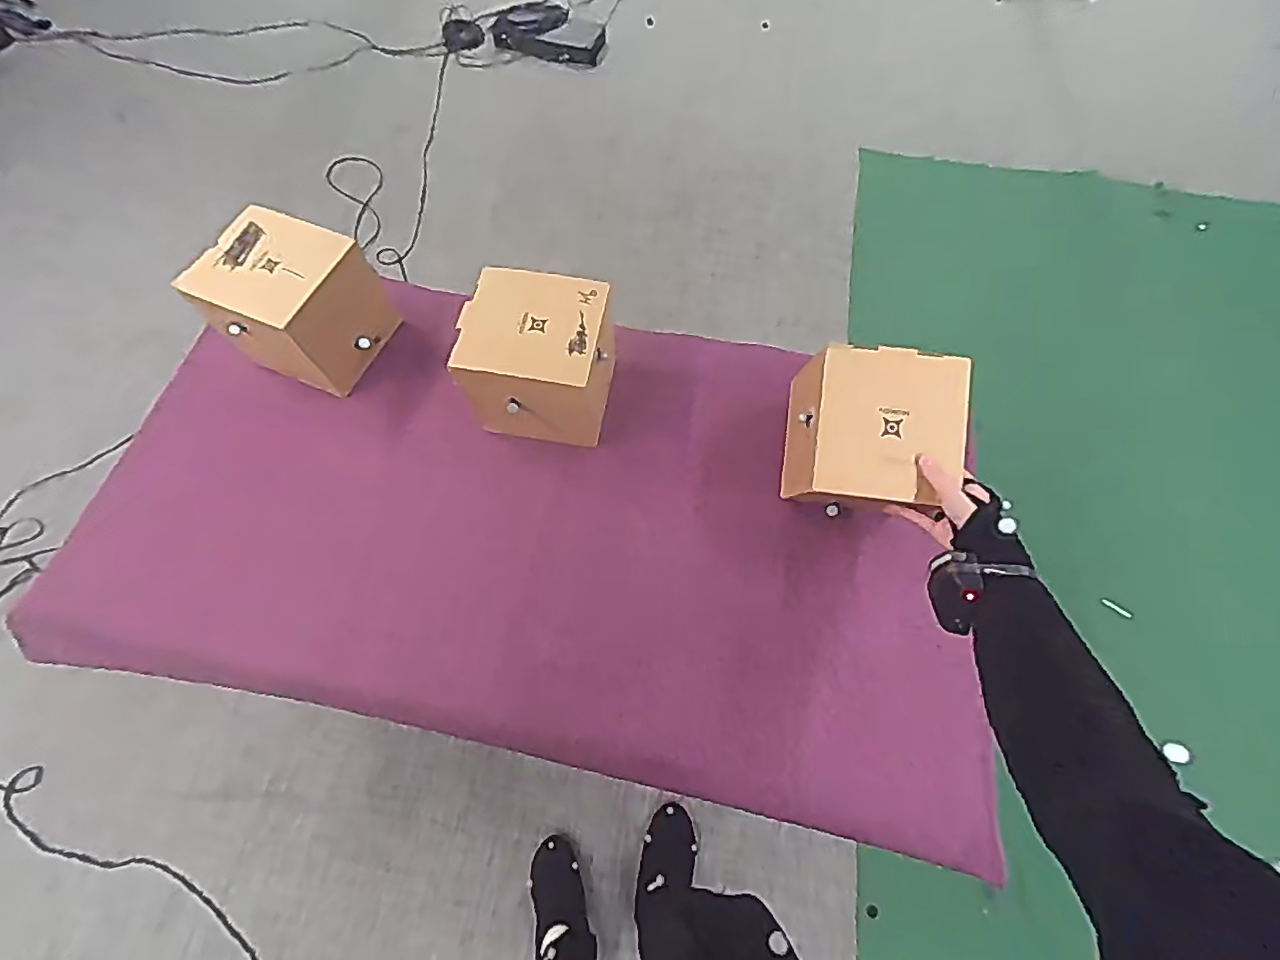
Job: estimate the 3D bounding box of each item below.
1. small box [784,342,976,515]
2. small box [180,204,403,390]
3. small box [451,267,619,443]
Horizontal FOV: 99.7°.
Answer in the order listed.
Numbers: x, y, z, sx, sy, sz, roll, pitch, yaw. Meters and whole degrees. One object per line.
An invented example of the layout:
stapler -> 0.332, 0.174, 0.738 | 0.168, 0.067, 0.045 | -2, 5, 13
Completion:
small box -> 0.289, -0.054, 0.685 | 0.168, 0.176, 0.179 | 8, 85, 2
small box -> -0.488, -0.257, 0.788 | 0.179, 0.176, 0.168 | 21, 69, 7
small box -> -0.131, -0.166, 0.754 | 0.179, 0.176, 0.168 | 9, 68, 4
